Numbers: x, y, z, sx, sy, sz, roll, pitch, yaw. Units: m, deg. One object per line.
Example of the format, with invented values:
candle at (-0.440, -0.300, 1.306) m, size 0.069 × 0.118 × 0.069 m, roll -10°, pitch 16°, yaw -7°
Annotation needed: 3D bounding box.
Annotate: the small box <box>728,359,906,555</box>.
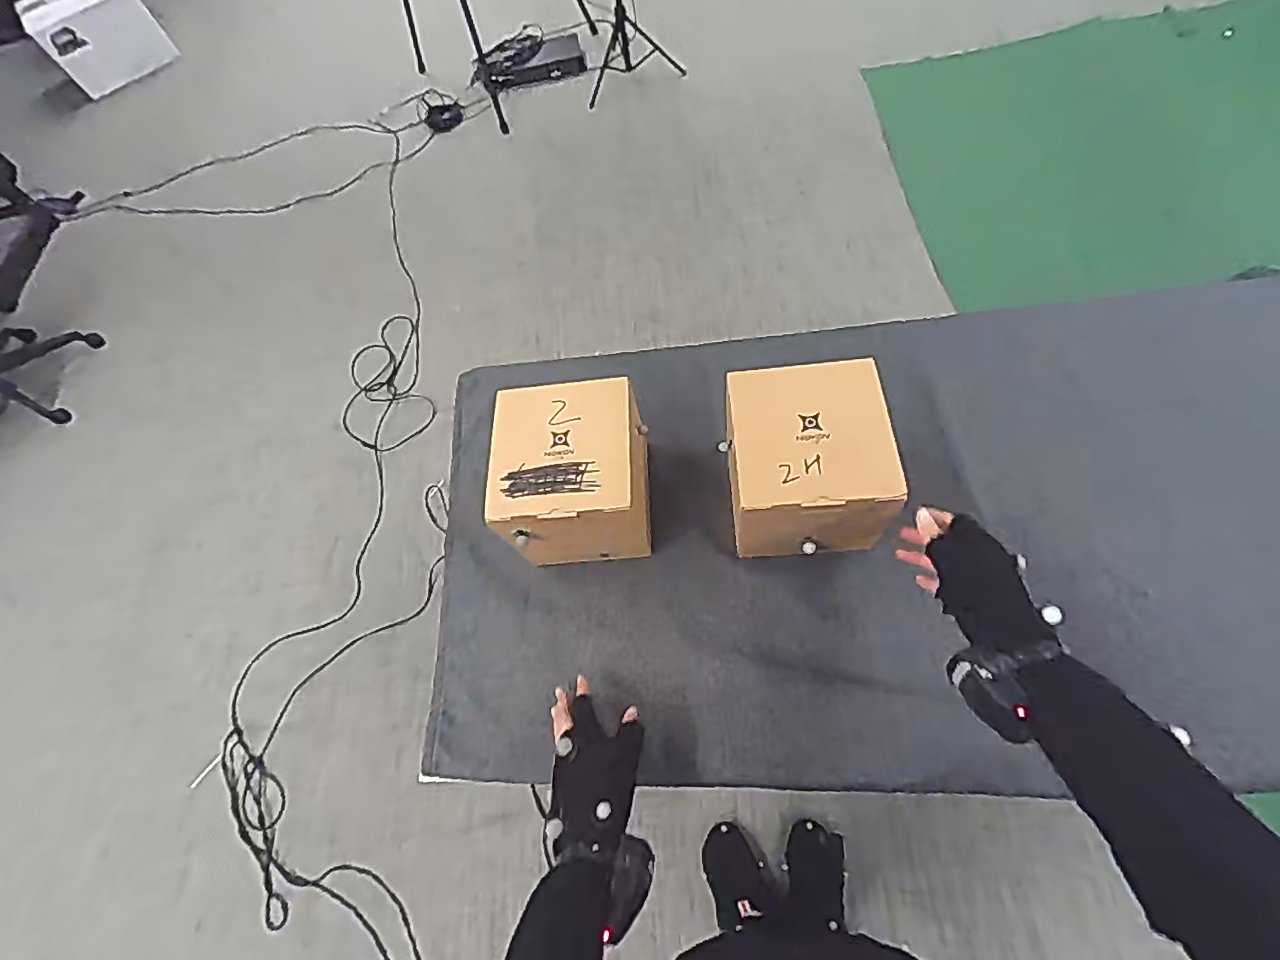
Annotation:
small box at (0.196, -0.020, 0.655) m, size 0.168 × 0.176 × 0.179 m, roll -4°, pitch 65°, yaw 7°
